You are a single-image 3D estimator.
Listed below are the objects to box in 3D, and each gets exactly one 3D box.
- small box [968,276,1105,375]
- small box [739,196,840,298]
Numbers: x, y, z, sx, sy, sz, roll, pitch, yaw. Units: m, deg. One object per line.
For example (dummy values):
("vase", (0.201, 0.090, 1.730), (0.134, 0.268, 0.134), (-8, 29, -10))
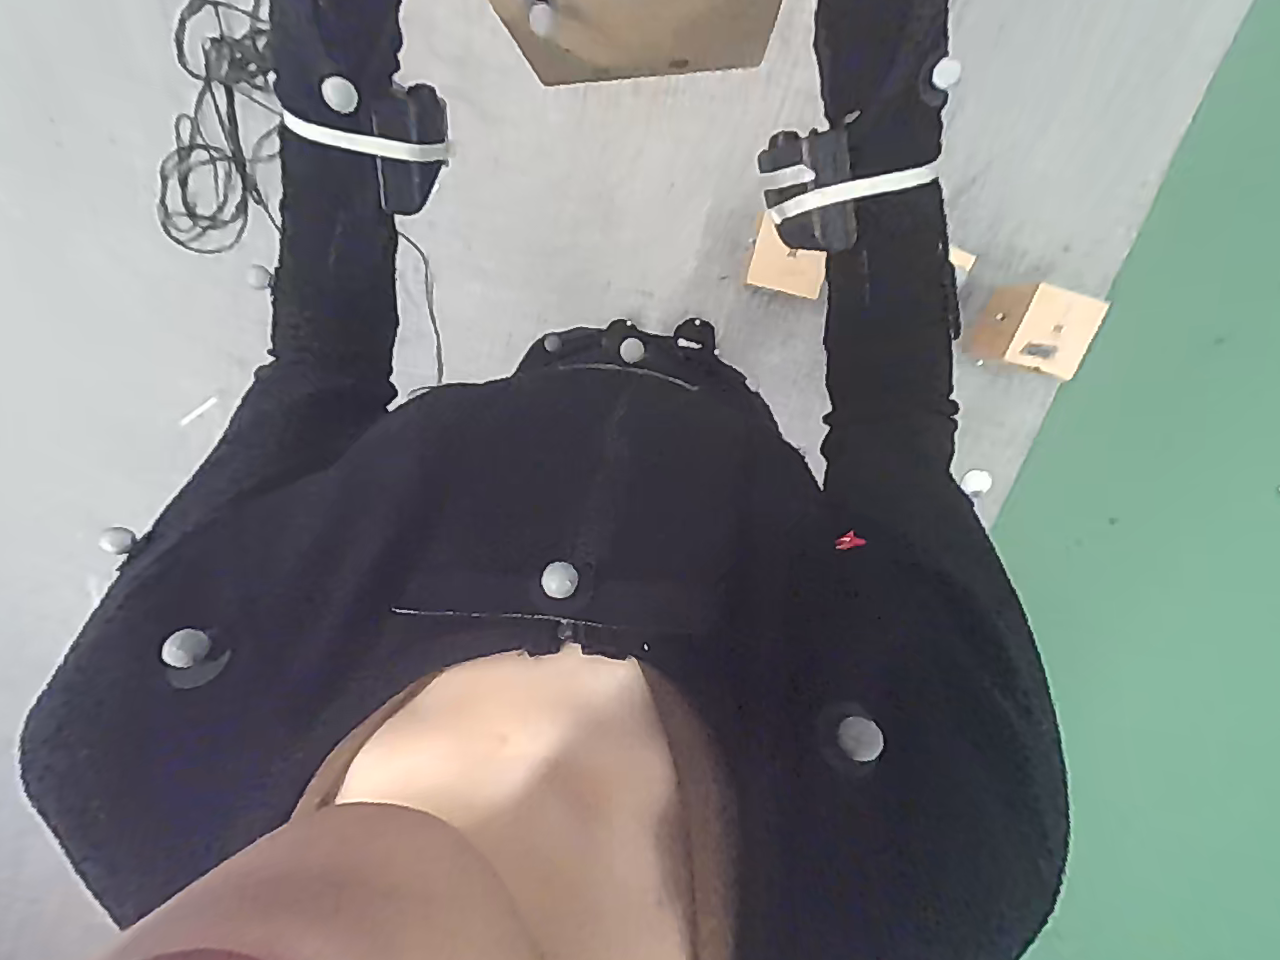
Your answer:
("small box", (0.913, -0.361, 1.271), (0.168, 0.176, 0.179), (17, 106, -3))
("small box", (0.333, -0.527, 1.245), (0.168, 0.176, 0.179), (13, 108, 0))
